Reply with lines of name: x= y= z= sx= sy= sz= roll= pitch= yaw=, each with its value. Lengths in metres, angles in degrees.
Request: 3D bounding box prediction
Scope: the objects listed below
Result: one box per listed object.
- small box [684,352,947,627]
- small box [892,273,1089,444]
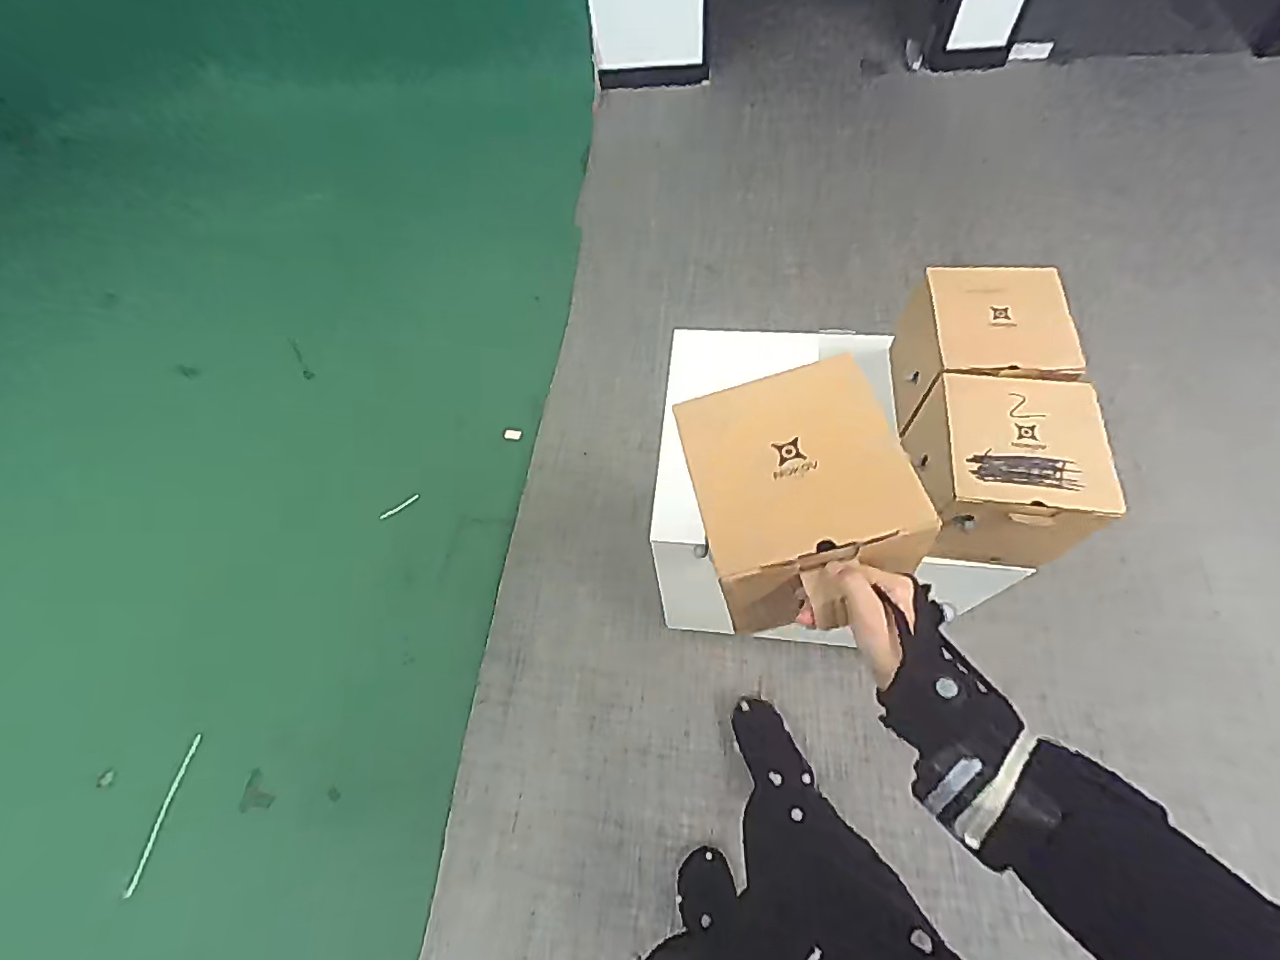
small box: x=0.147 y=0.017 z=0.509 sx=0.168 sy=0.176 sz=0.179 roll=-16 pitch=58 yaw=6
small box: x=0.471 y=-0.165 z=0.759 sx=0.168 sy=0.176 sz=0.179 roll=3 pitch=62 yaw=7
